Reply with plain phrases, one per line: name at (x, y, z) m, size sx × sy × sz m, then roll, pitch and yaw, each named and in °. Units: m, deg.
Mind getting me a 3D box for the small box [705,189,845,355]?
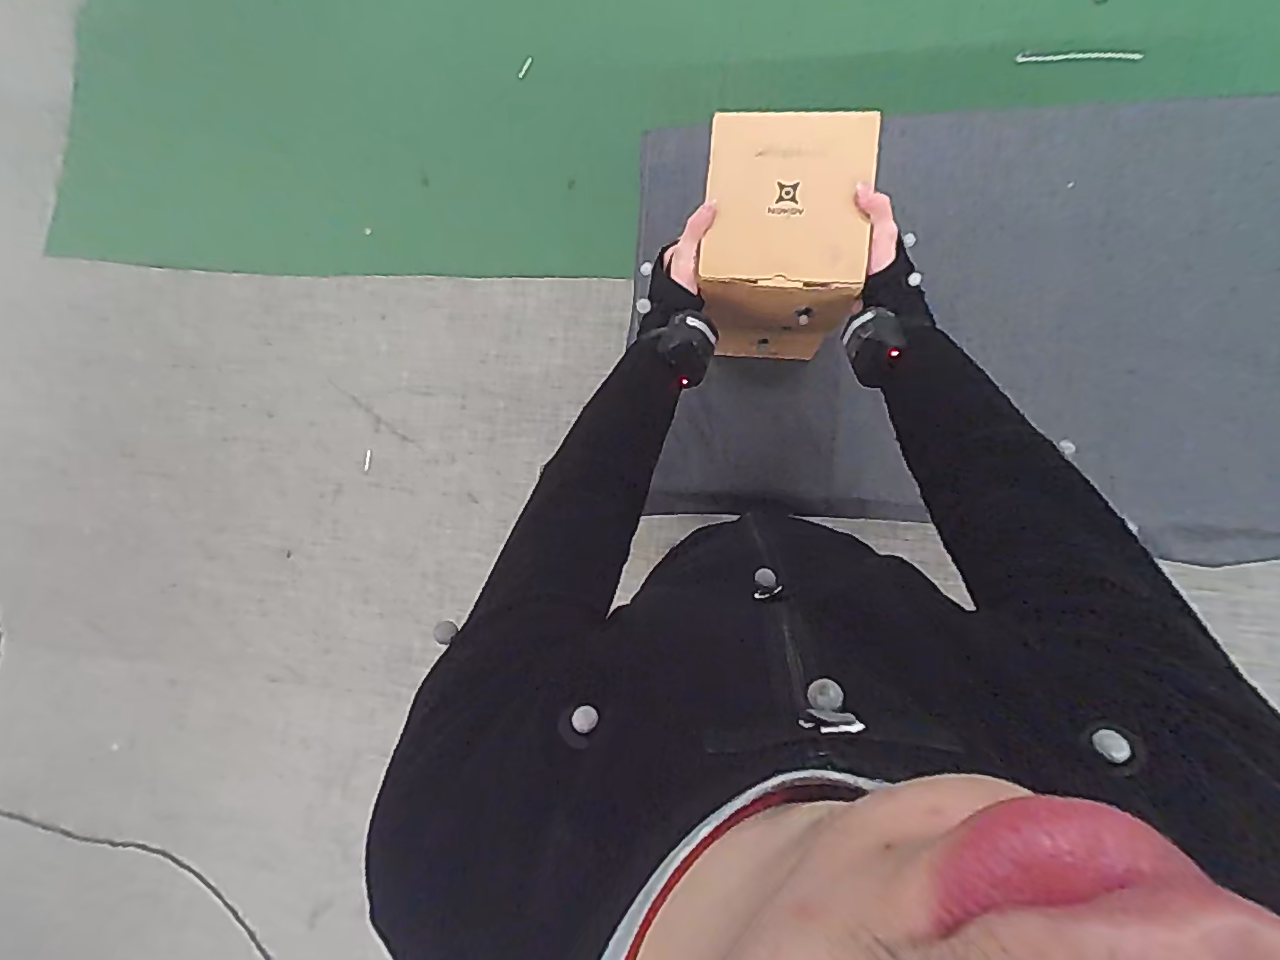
small box at (0.185, -0.287, 0.778) m, size 0.168 × 0.176 × 0.179 m, roll 5°, pitch 88°, yaw 8°
